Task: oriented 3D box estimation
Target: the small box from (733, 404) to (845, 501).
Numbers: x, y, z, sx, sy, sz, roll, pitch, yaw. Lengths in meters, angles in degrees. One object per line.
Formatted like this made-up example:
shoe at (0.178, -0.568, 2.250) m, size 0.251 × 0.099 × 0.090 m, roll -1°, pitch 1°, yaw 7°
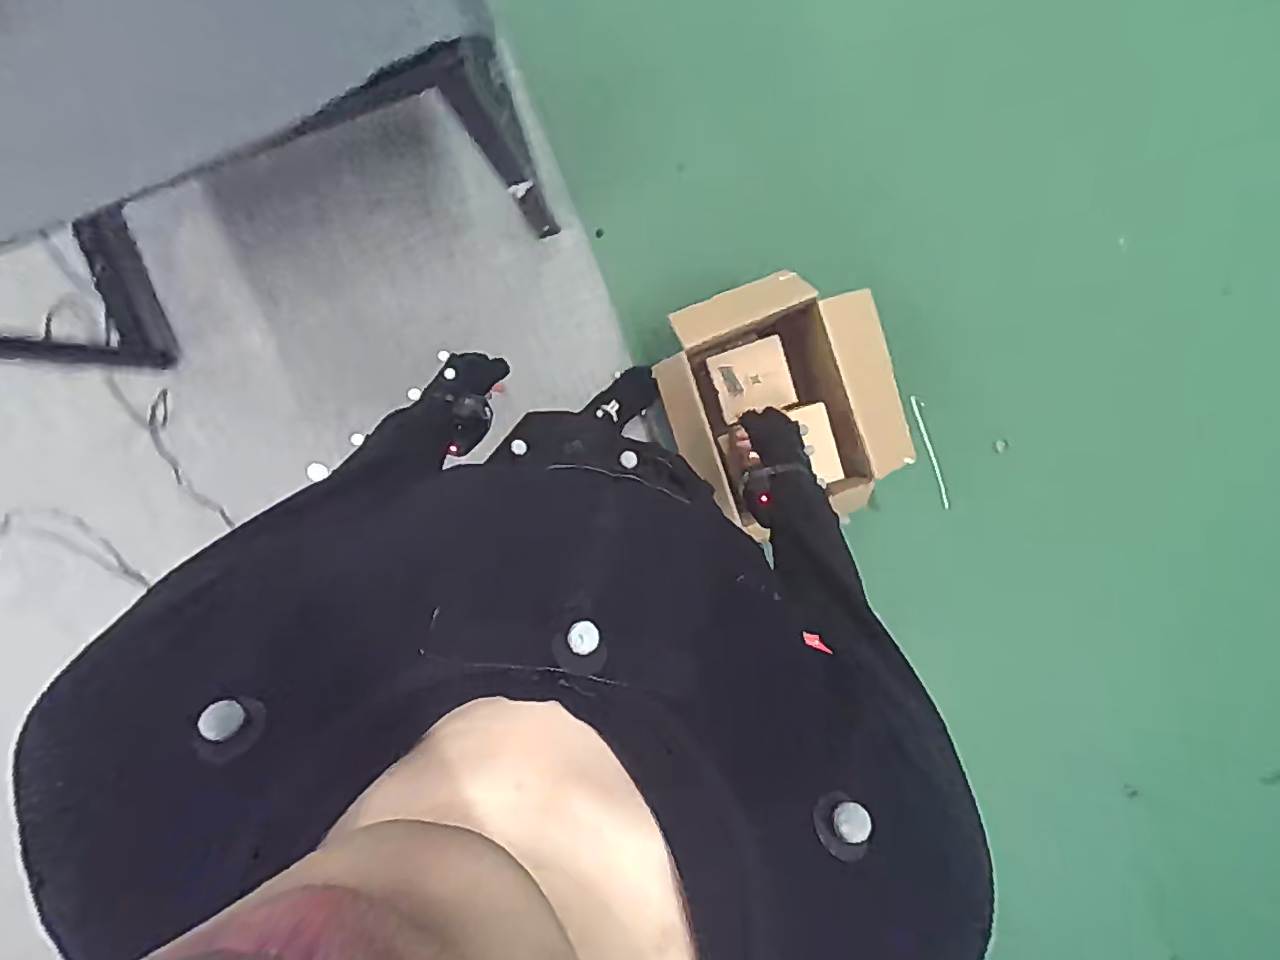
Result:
small box at (0.319, -0.063, 1.189) m, size 0.179 × 0.176 × 0.168 m, roll -16°, pitch 93°, yaw 2°
